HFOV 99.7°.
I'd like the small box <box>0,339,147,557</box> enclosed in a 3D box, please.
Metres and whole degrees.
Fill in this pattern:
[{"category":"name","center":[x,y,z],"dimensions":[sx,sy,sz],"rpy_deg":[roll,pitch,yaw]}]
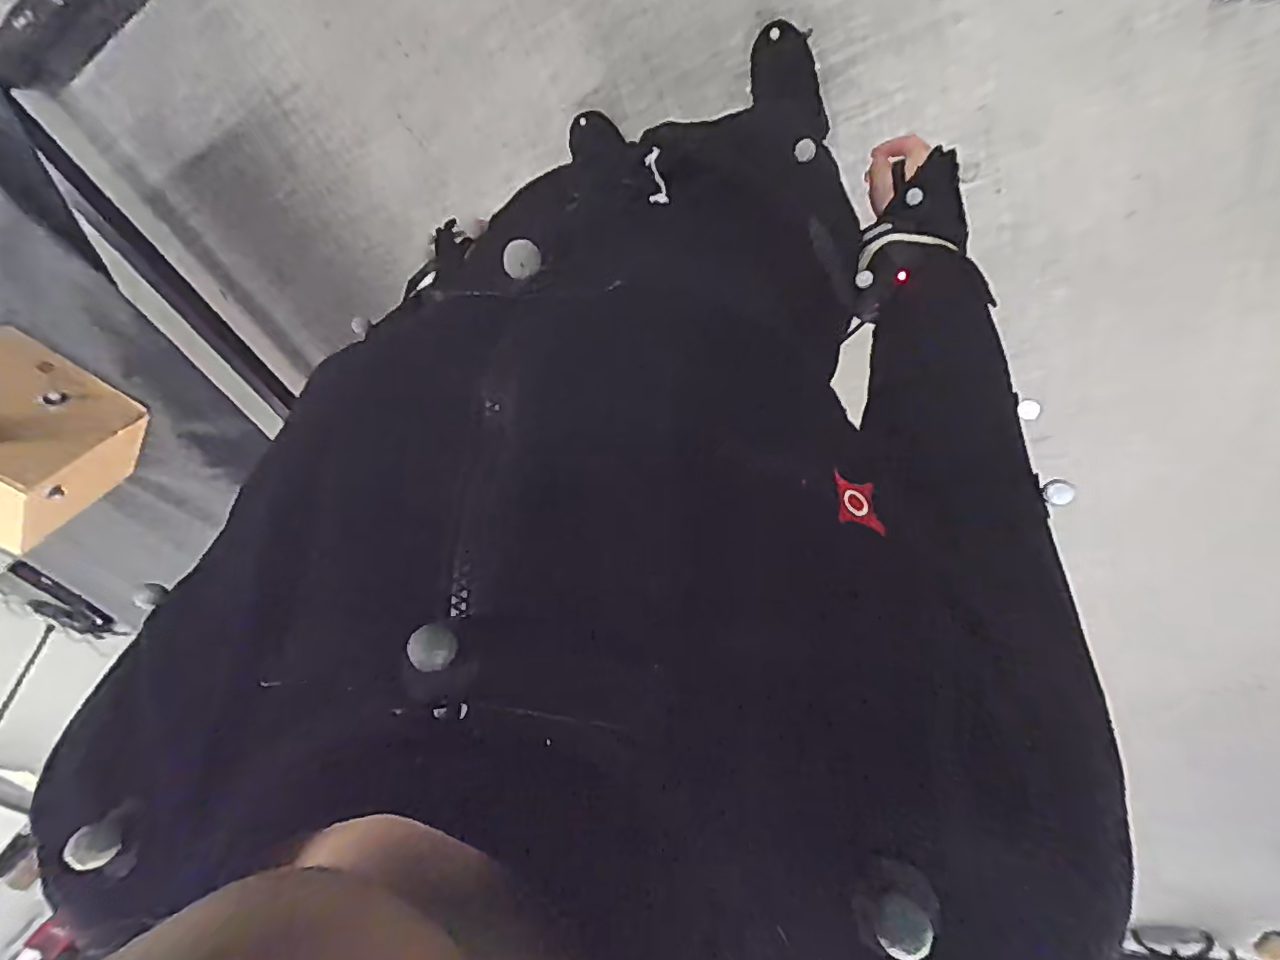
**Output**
[{"category":"small box","center":[-0.779,-0.040,0.681],"dimensions":[0.168,0.176,0.179],"rpy_deg":[39,127,-21]}]
